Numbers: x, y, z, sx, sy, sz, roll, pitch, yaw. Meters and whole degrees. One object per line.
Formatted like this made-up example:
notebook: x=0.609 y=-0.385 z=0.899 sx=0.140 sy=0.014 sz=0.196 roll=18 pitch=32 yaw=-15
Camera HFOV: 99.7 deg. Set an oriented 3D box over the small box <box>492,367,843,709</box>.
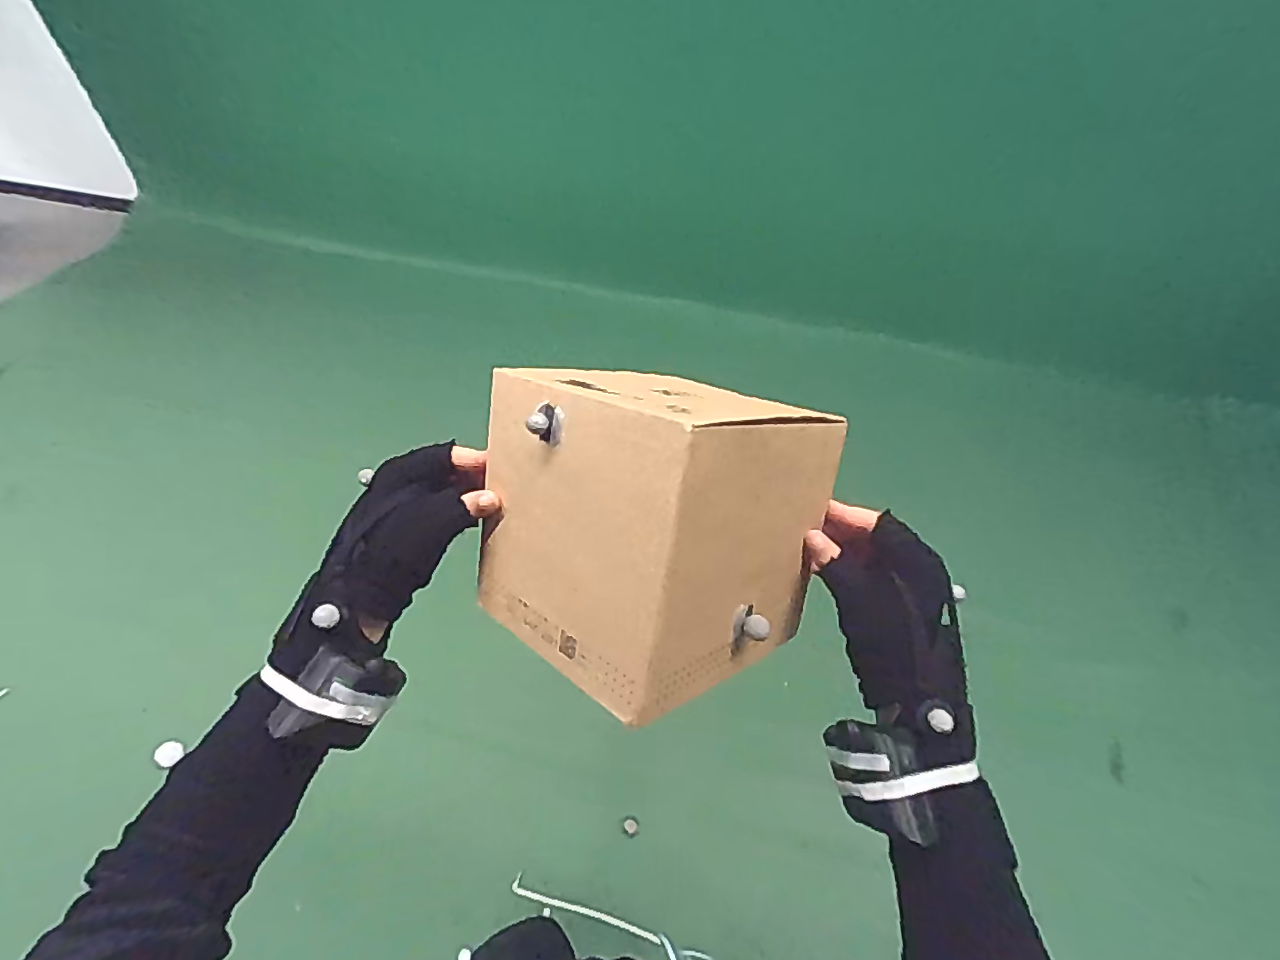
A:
small box: x=0.014 y=0.024 z=0.385 sx=0.168 sy=0.176 sz=0.179 roll=22 pitch=19 yaw=39
